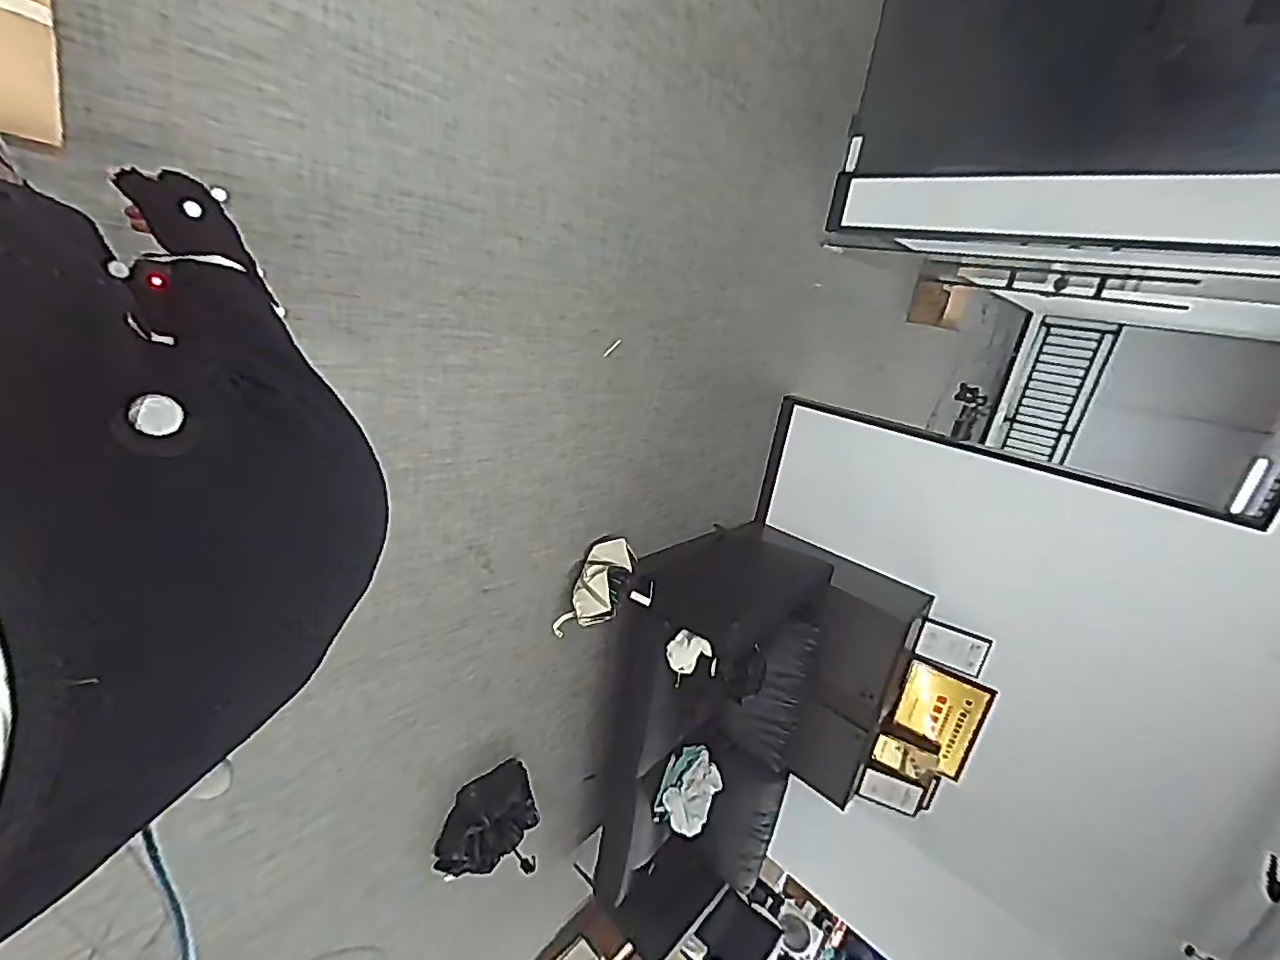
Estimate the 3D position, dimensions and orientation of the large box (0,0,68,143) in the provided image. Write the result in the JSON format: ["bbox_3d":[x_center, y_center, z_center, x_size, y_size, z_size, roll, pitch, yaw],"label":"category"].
[{"bbox_3d":[-1.015,-0.657,0.658,0.408,0.320,0.320,-7,116,-48],"label":"large box"}]
